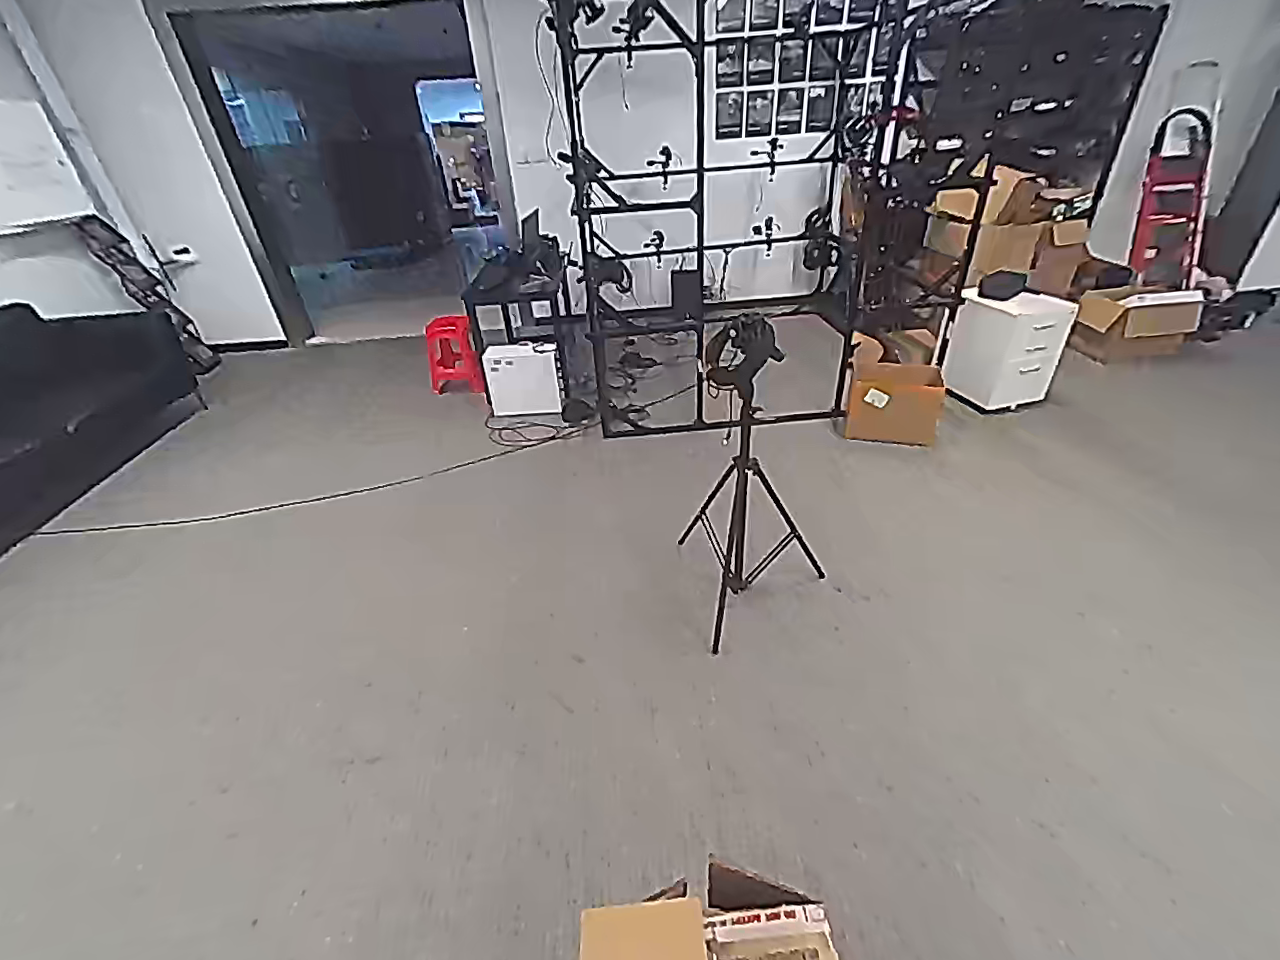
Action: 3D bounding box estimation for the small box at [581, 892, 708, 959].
[{"bbox_3d":[0.011,0.692,0.723,0.168,0.176,0.179,-6,35,0],"label":"small box"}]
